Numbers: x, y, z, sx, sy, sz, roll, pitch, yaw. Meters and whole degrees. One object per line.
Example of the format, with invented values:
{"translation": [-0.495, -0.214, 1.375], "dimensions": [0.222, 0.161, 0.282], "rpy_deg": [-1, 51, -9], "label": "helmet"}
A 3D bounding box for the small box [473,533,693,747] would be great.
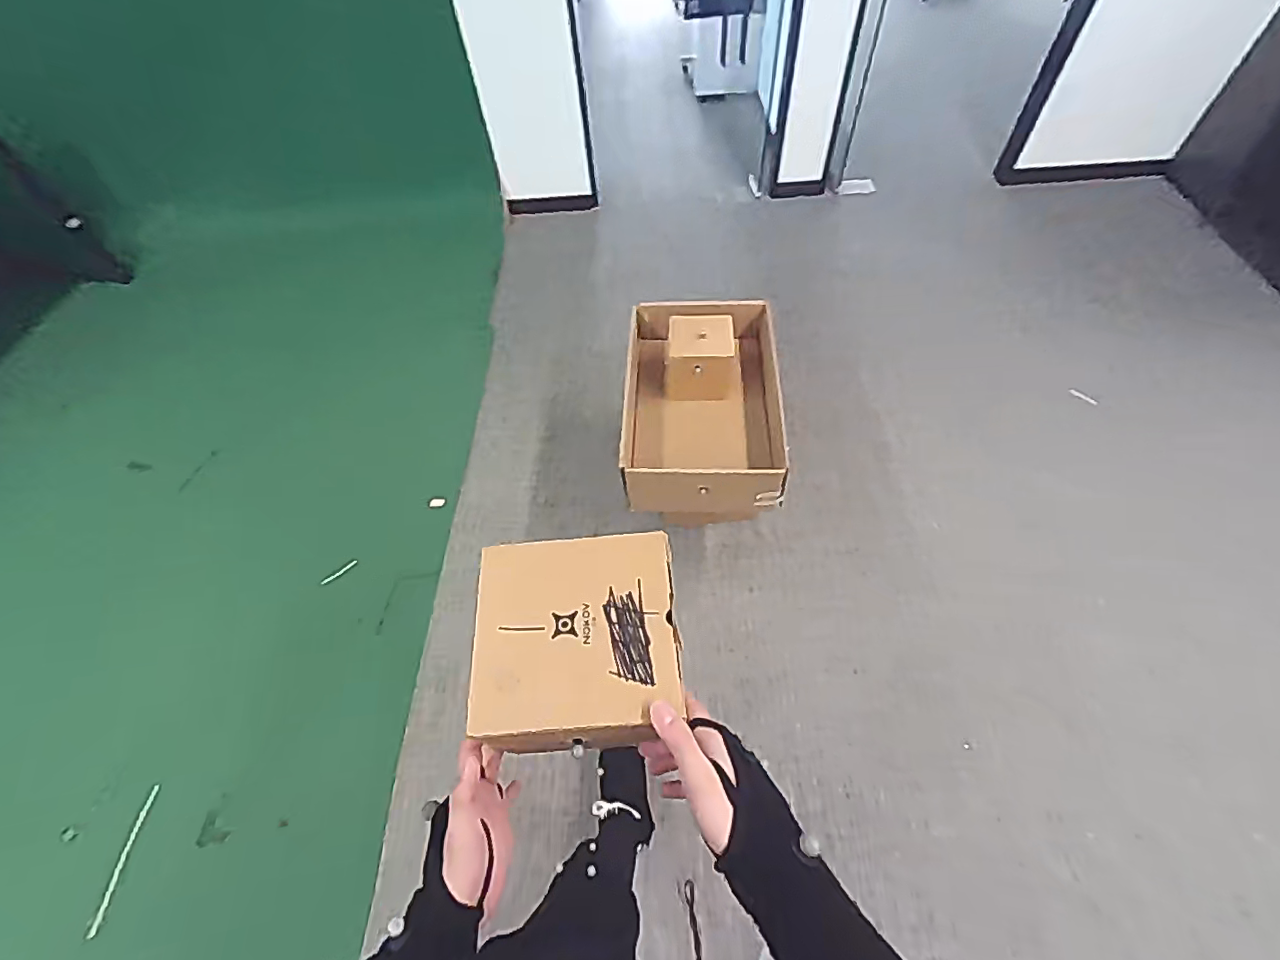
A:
{"translation": [-0.046, 0.164, 0.532], "dimensions": [0.179, 0.176, 0.168], "rpy_deg": [-4, 59, 1], "label": "small box"}

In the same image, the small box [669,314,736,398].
{"translation": [0.169, -0.345, 1.518], "dimensions": [0.179, 0.176, 0.168], "rpy_deg": [0, 56, 4], "label": "small box"}
